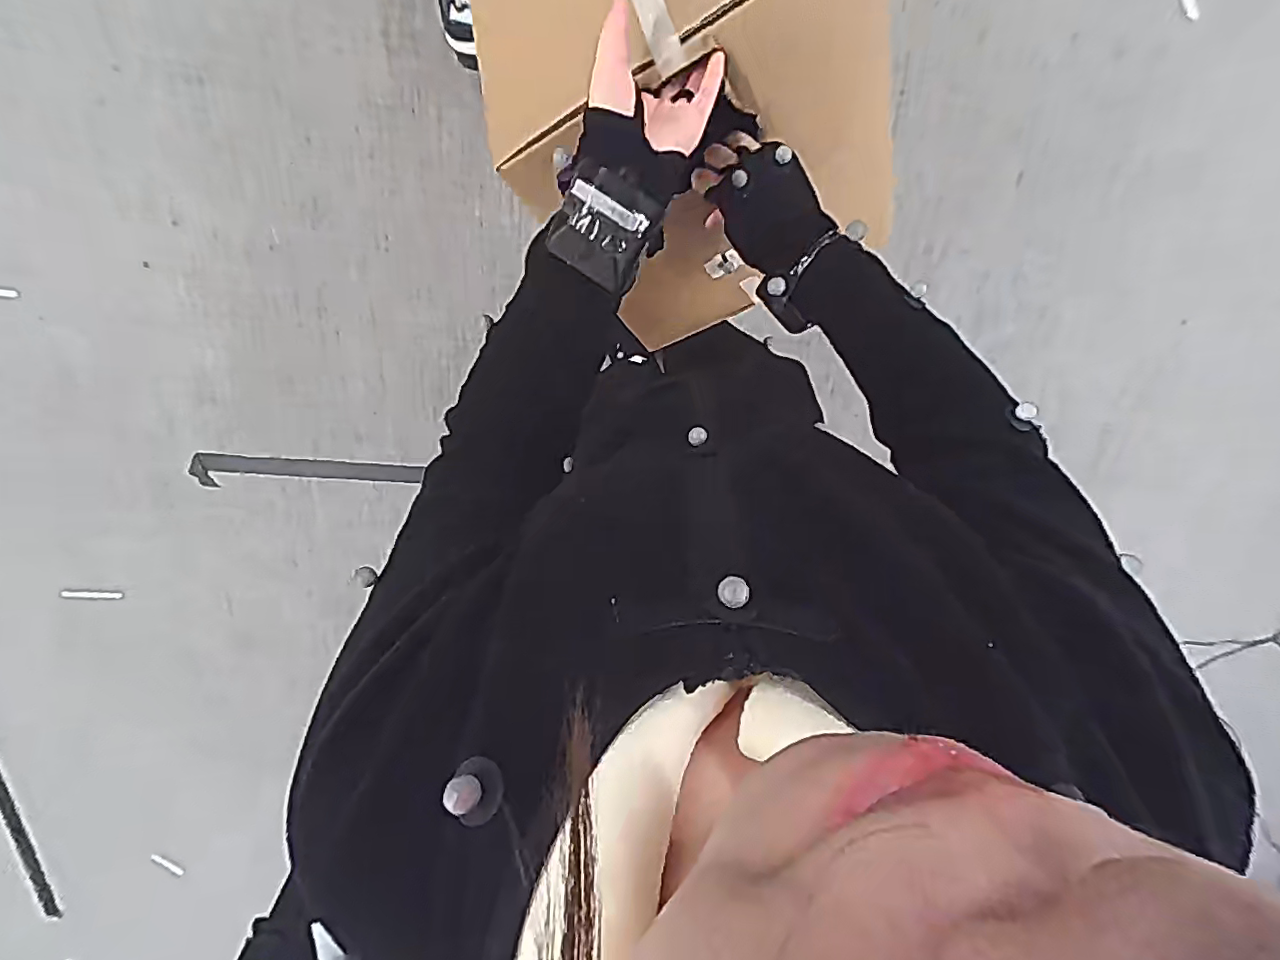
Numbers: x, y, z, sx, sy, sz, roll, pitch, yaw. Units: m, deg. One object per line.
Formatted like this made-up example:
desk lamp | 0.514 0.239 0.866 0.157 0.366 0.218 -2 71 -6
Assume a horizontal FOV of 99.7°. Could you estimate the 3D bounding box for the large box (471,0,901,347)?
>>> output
large box | 0.045 -0.433 0.589 0.320 0.408 0.320 -22 155 19
